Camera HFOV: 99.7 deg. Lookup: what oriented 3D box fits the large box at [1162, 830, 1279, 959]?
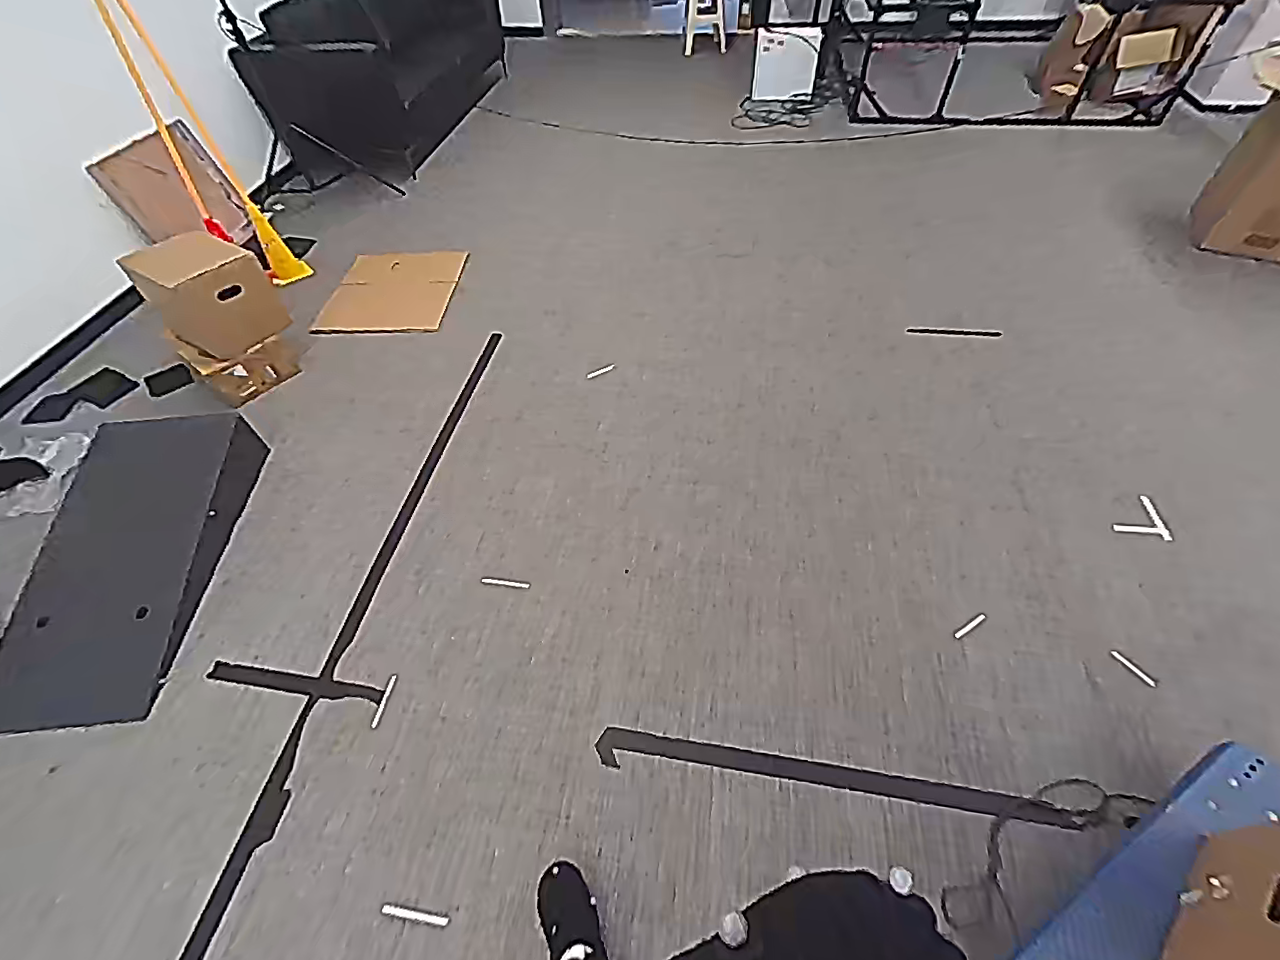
[{"bbox_3d":[1.115,0.799,0.780,0.320,0.320,0.408,-36,58,-23],"label":"large box"}]
